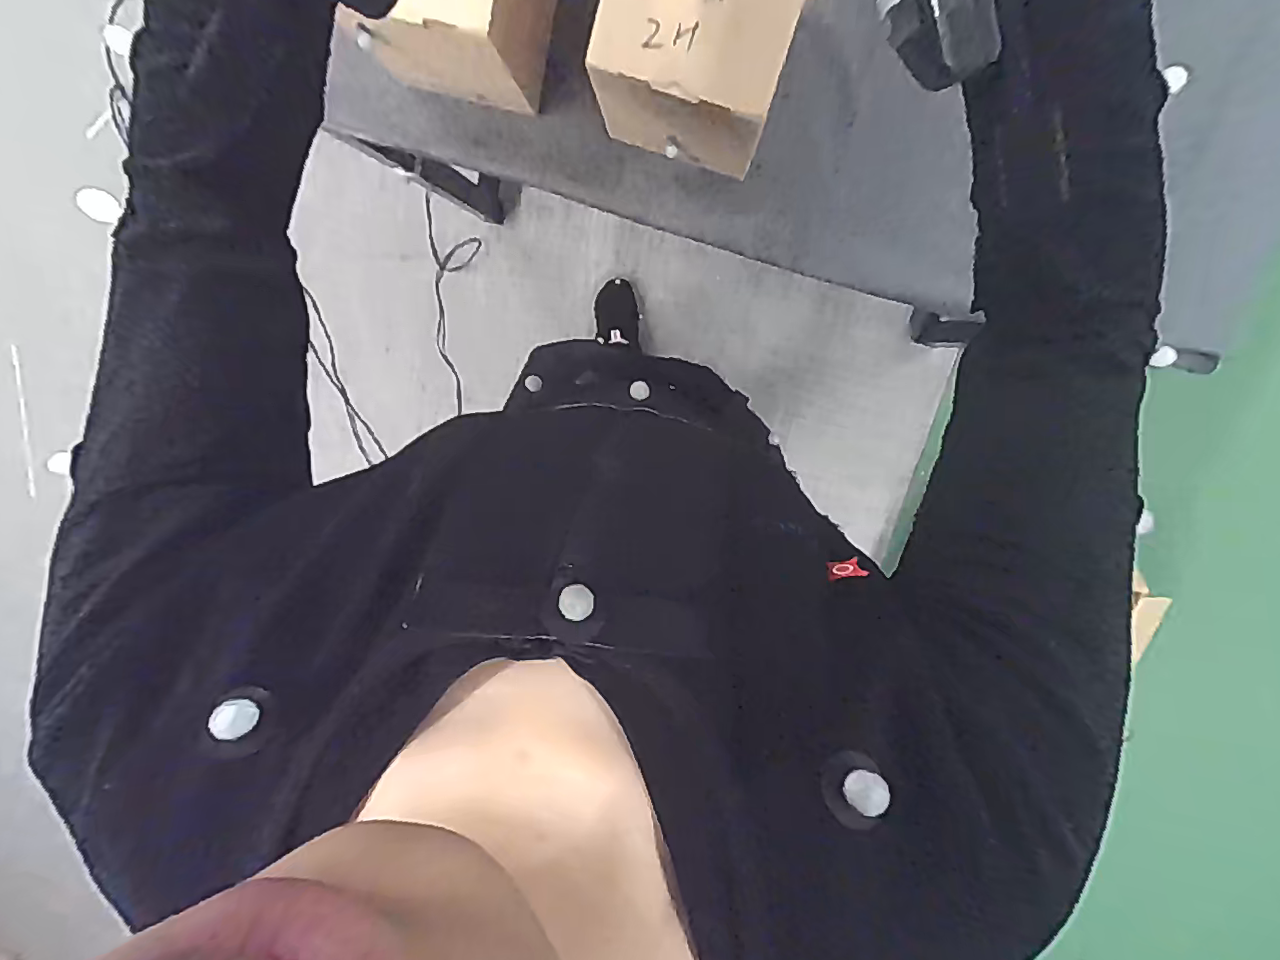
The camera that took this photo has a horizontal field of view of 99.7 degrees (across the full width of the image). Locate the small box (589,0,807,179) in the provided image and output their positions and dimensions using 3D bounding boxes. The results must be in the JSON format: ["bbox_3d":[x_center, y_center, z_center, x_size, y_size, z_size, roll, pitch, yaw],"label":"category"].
[{"bbox_3d":[0.061,-0.431,0.528,0.168,0.176,0.179,18,105,-1],"label":"small box"}]
